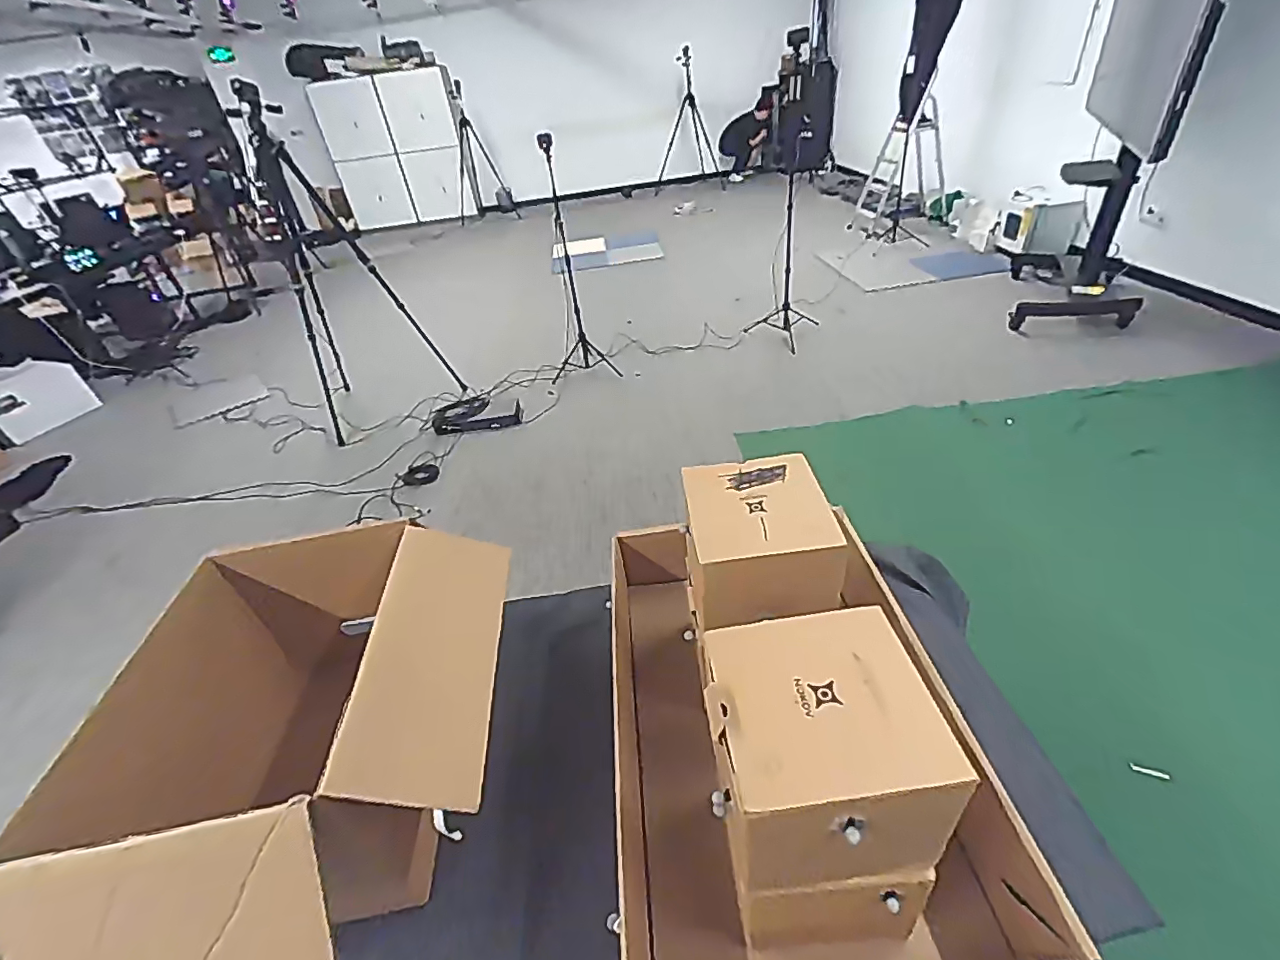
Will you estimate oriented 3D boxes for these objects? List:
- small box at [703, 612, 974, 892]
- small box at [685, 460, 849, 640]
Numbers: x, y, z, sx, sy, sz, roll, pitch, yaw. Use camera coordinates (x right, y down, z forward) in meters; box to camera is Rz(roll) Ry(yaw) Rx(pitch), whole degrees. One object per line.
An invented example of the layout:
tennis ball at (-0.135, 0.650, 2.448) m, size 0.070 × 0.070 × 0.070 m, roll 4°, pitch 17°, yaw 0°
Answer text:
small box at (0.162, 0.250, 0.501) m, size 0.179 × 0.176 × 0.168 m, roll -8°, pitch 36°, yaw 0°
small box at (0.151, 0.097, 0.703) m, size 0.168 × 0.176 × 0.179 m, roll -7°, pitch 39°, yaw 2°
